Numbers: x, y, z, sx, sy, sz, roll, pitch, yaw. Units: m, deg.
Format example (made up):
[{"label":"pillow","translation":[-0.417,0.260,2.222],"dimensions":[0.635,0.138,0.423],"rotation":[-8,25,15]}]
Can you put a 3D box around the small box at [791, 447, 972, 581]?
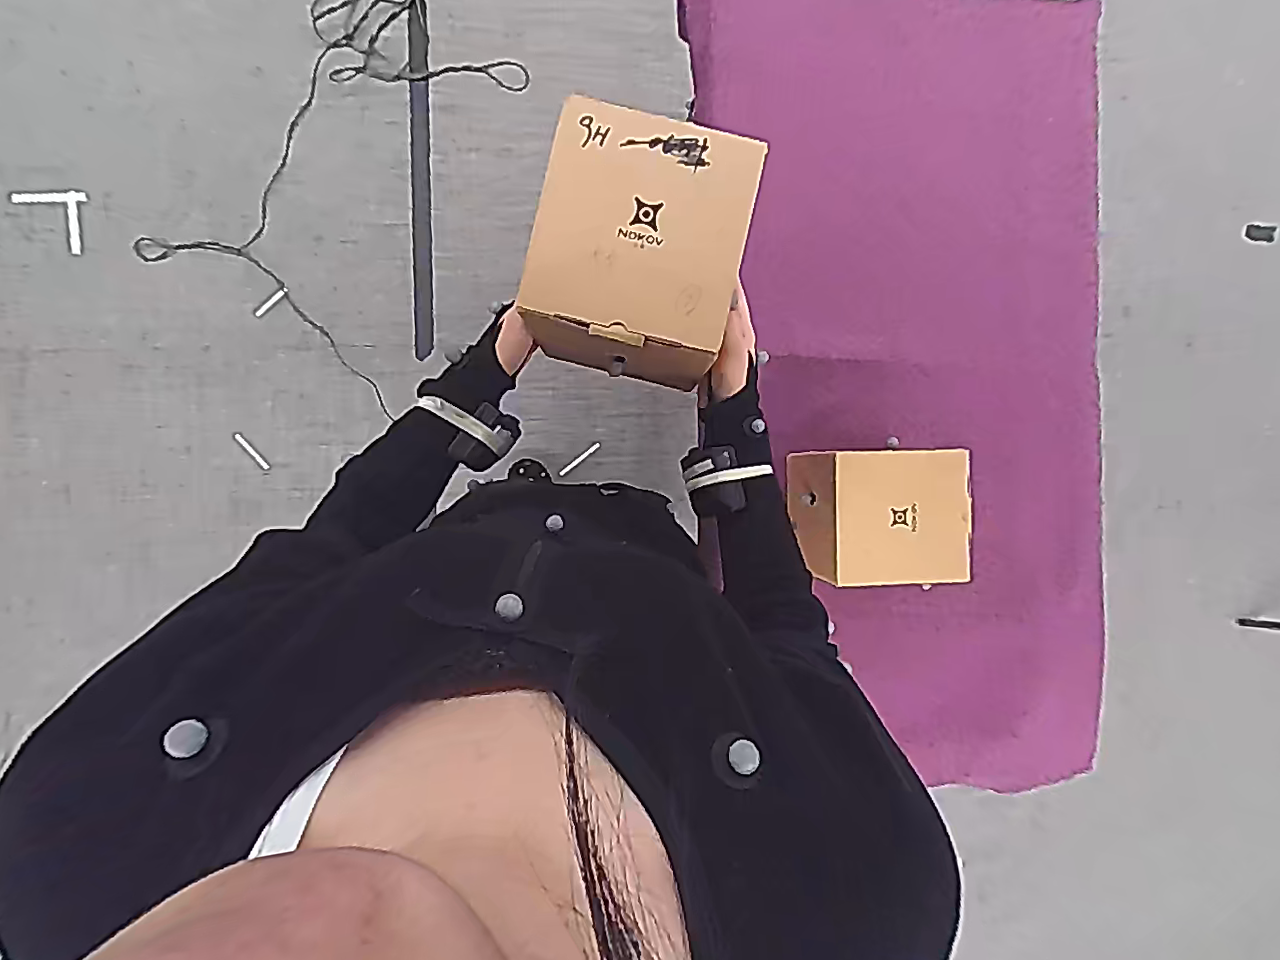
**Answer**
[{"label":"small box","translation":[0.316,0.041,0.741],"dimensions":[0.179,0.176,0.168],"rotation":[-1,91,-6]}]

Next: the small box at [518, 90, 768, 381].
[{"label":"small box","translation":[0.001,-0.201,0.501],"dimensions":[0.168,0.176,0.179],"rotation":[13,91,-2]}]
